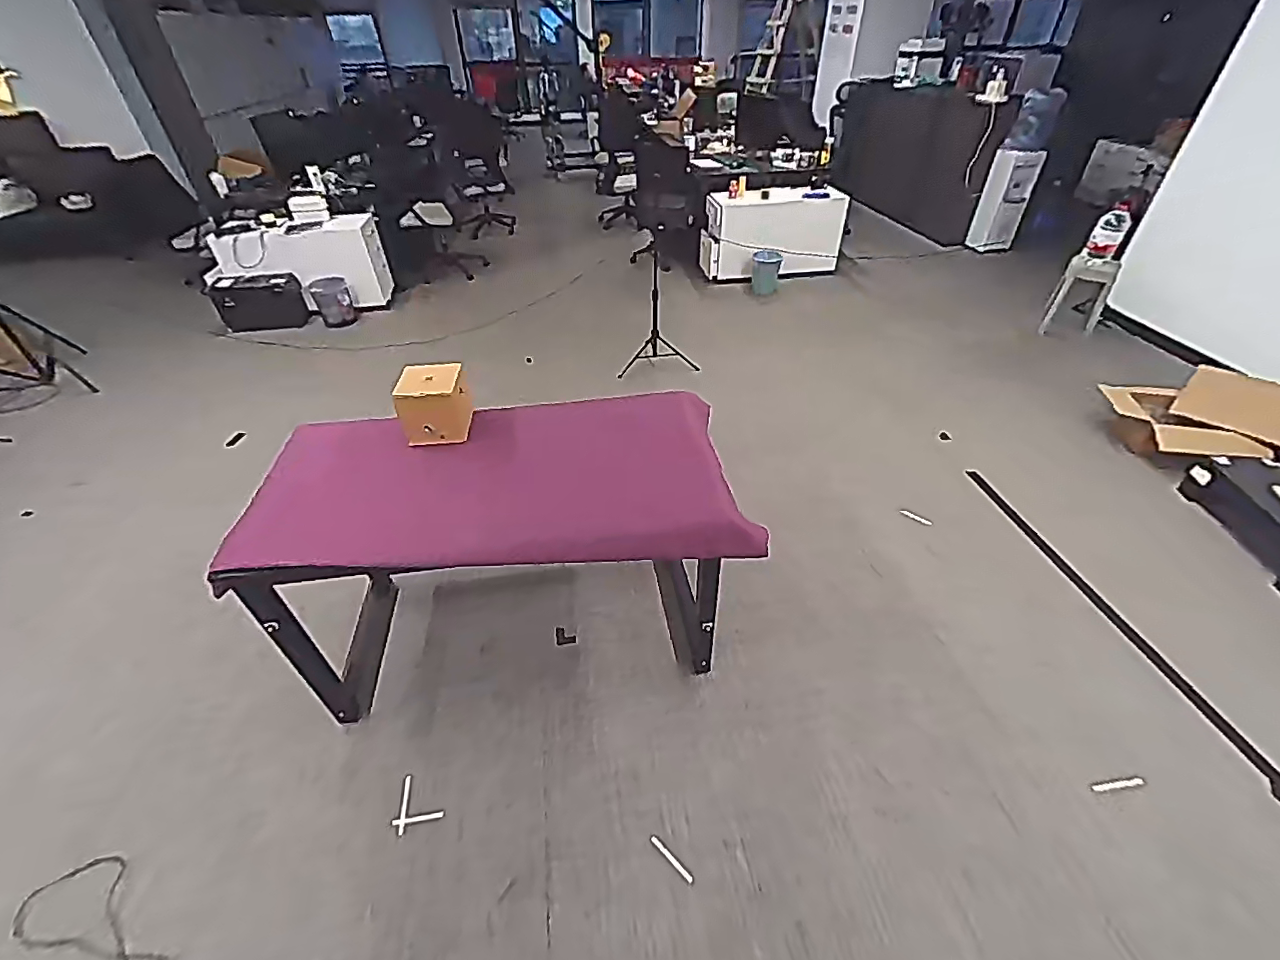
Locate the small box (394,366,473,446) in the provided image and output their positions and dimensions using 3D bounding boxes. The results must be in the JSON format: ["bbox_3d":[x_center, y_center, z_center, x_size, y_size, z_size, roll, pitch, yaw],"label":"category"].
[{"bbox_3d":[-0.598,-0.217,1.589,0.168,0.176,0.179,-4,40,-4],"label":"small box"}]
